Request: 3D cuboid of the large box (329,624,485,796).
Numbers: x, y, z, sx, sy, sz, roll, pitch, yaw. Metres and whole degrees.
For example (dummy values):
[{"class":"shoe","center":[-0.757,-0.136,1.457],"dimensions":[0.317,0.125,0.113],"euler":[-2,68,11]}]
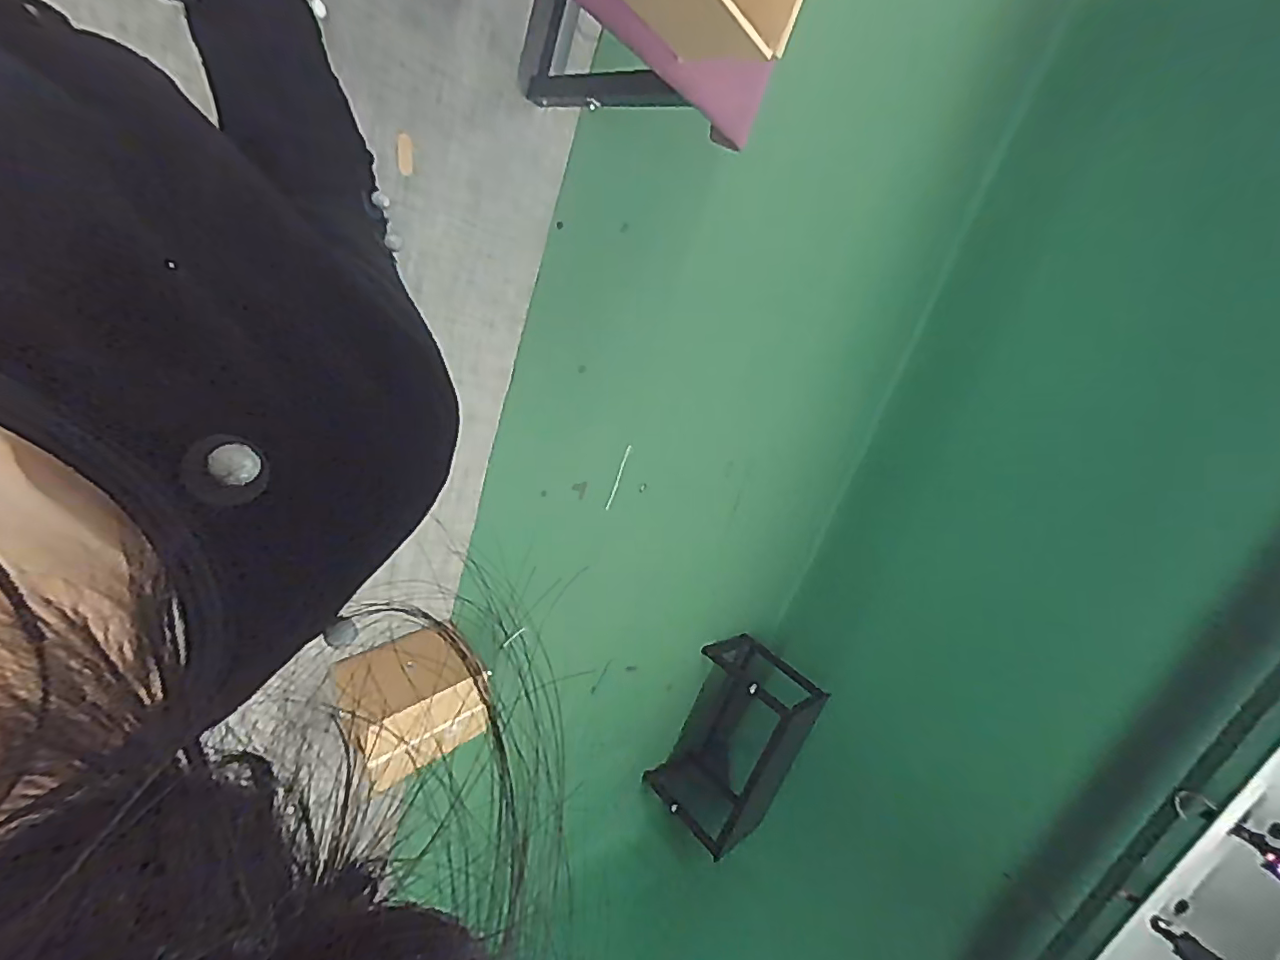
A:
[{"class":"large box","center":[-0.796,0.771,1.873],"dimensions":[0.408,0.320,0.320],"euler":[-17,127,-42]}]
